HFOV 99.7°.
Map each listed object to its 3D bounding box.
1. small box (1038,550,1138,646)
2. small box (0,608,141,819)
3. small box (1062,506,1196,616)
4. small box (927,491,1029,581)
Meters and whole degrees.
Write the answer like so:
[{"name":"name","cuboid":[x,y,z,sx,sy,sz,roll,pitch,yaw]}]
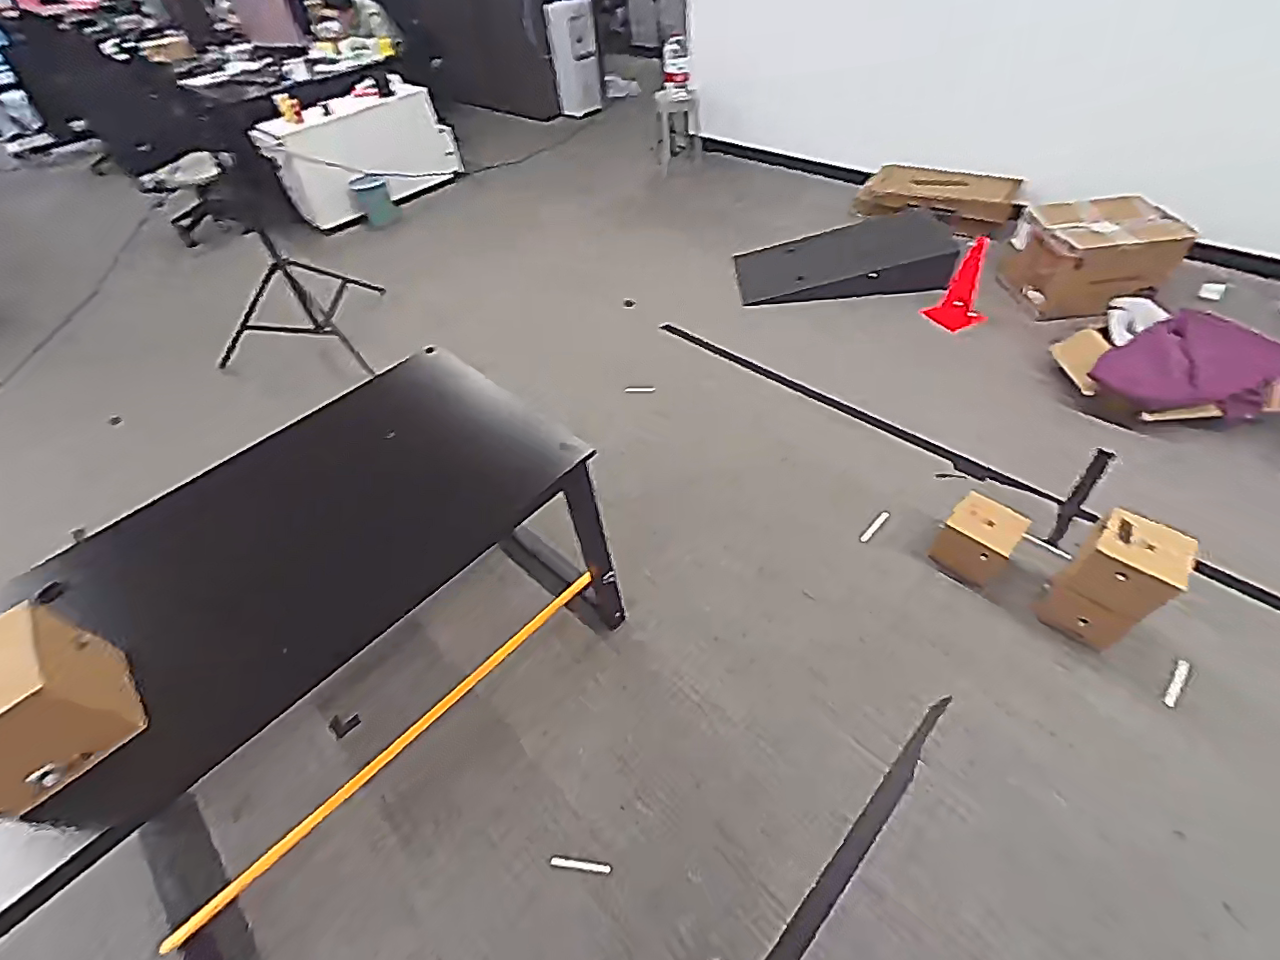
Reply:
[{"name":"small box","cuboid":[1.210,0.311,1.450,0.168,0.176,0.179,31,60,29]},{"name":"small box","cuboid":[-0.831,0.312,0.720,0.179,0.176,0.168,34,61,30]},{"name":"small box","cuboid":[1.189,0.202,1.327,0.179,0.176,0.168,32,60,28]},{"name":"small box","cuboid":[0.989,0.171,1.593,0.168,0.176,0.179,-39,55,-25]}]
